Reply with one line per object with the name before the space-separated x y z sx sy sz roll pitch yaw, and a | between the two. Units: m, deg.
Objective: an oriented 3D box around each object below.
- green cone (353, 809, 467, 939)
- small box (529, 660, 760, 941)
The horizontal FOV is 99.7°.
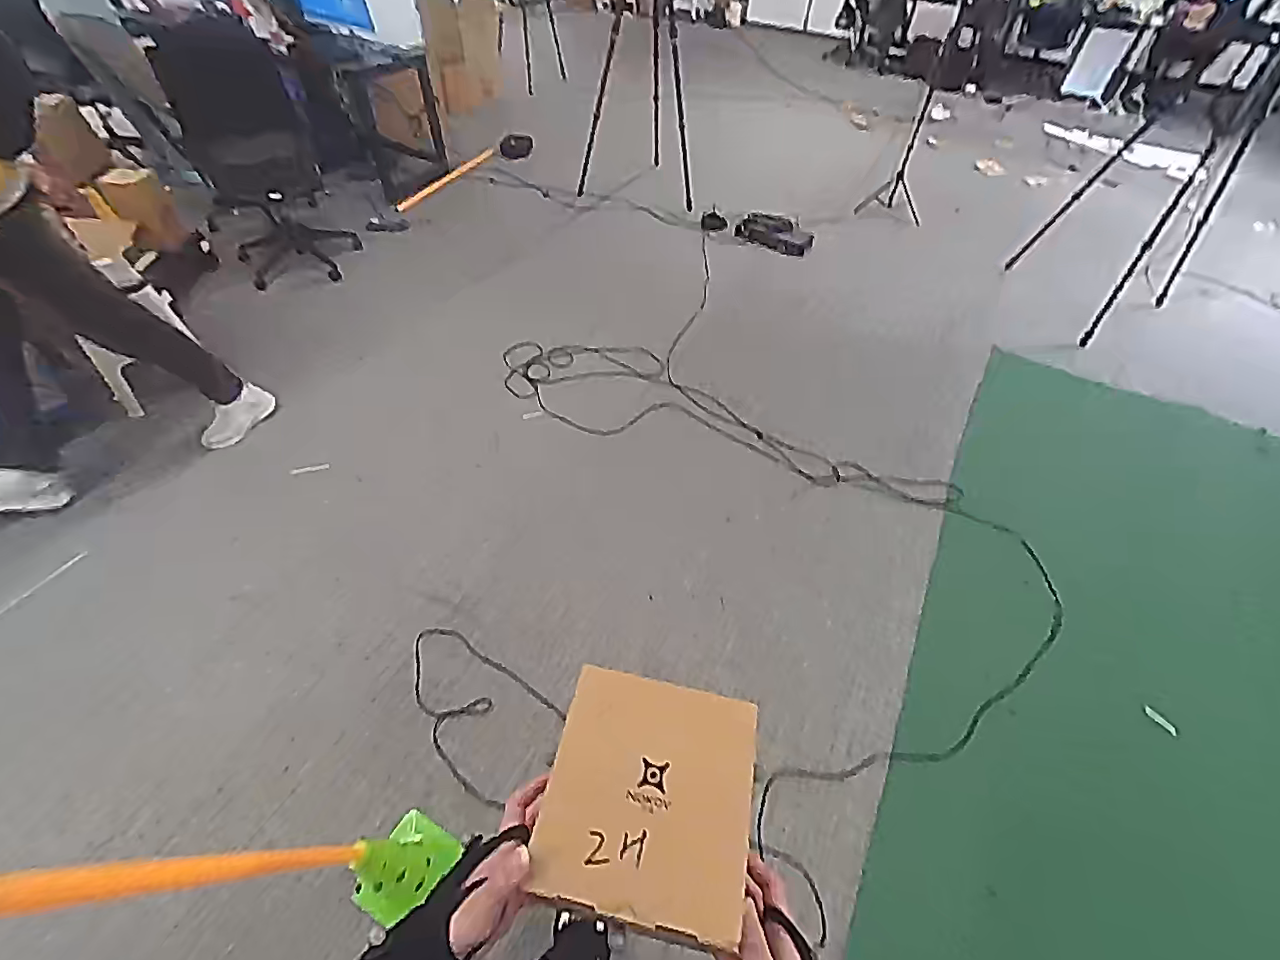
green cone | -0.533 0.815 1.155 0.200 0.368 0.202 25 52 16
small box | 0.008 0.304 0.514 0.168 0.176 0.179 12 49 8
